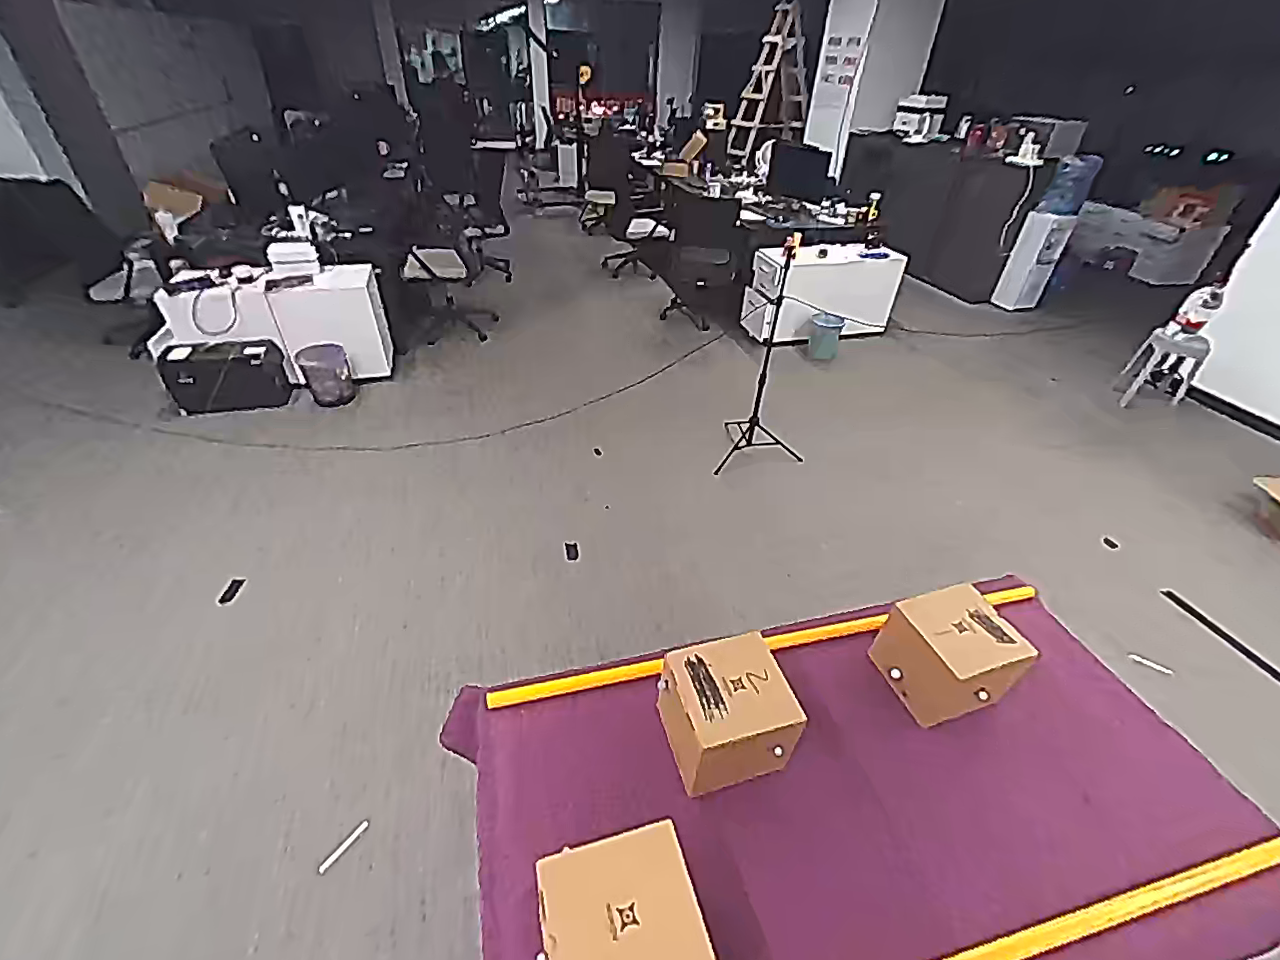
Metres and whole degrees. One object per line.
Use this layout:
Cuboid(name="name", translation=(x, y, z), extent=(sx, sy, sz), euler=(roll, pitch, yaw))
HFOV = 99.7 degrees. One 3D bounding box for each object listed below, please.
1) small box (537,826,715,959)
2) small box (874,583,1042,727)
Cuboid(name="small box", translation=(-0.023, 0.561, 0.652), extent=(0.179, 0.176, 0.168), euler=(-8, 38, -16))
Cuboid(name="small box", translation=(0.569, 0.321, 0.994), extent=(0.179, 0.176, 0.168), euler=(-11, 41, -15))
